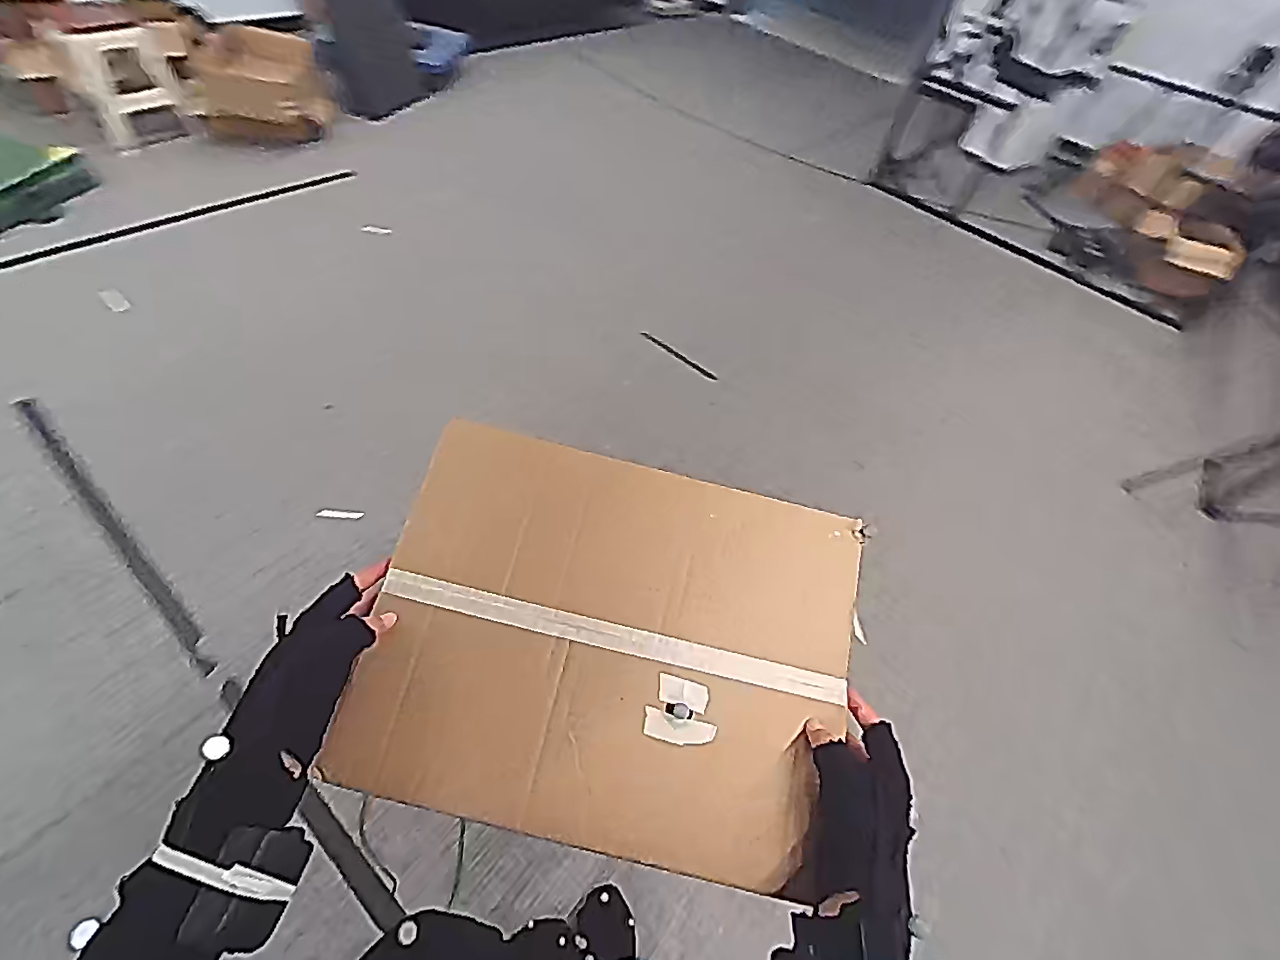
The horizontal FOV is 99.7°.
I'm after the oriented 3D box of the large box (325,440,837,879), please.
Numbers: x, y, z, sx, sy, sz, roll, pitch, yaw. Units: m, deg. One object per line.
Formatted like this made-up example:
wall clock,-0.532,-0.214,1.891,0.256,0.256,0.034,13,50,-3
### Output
large box,-0.042,0.189,0.618,0.408,0.320,0.320,13,71,-1
